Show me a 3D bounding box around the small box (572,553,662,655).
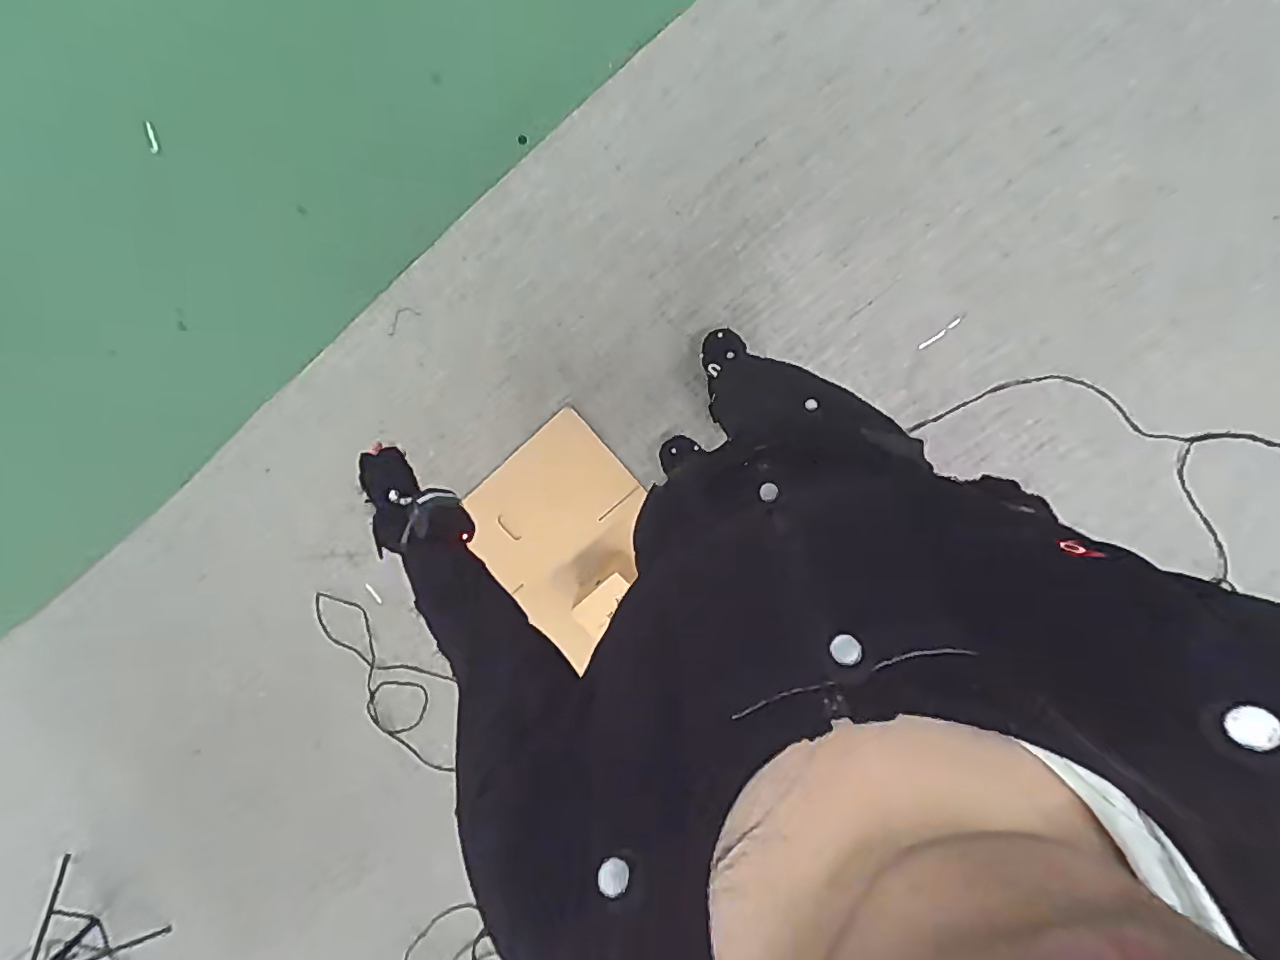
[{"bbox_3d":[-0.057,0.326,1.461,0.179,0.176,0.168,-42,95,11],"label":"small box"}]
